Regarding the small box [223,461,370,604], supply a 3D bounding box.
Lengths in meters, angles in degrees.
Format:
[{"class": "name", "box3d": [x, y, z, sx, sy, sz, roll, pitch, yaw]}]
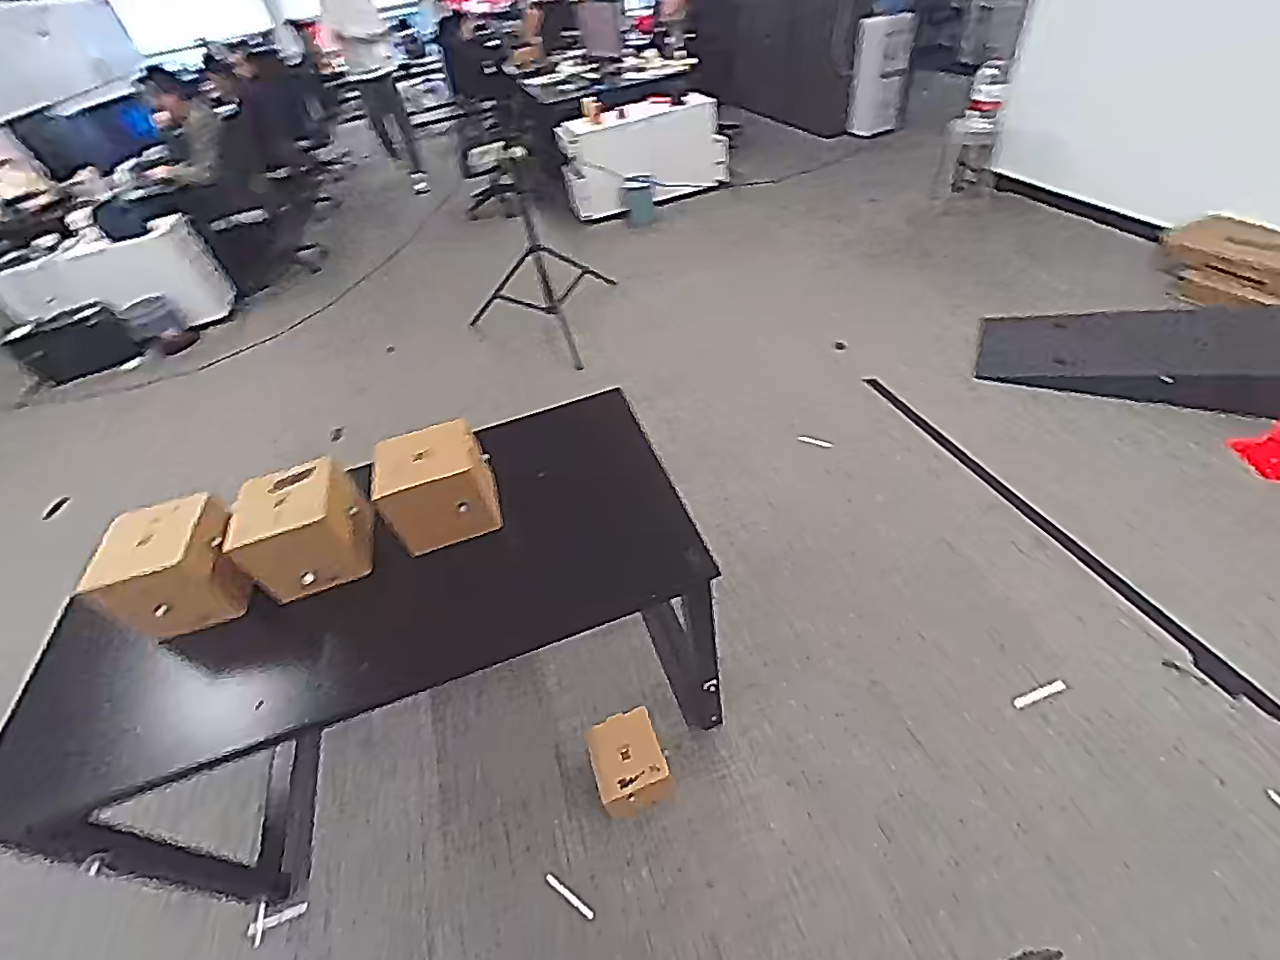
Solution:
[{"class": "small box", "box3d": [-0.628, 0.100, 1.014, 0.168, 0.176, 0.179, -19, 47, -9]}]

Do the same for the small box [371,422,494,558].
[{"class": "small box", "box3d": [-0.395, 0.021, 1.052, 0.179, 0.176, 0.168, -20, 44, -7]}]

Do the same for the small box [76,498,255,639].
[{"class": "small box", "box3d": [-0.840, 0.168, 0.987, 0.168, 0.176, 0.179, -16, 45, -6]}]

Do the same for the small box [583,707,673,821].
[{"class": "small box", "box3d": [-0.028, 0.703, 1.336, 0.168, 0.176, 0.179, -20, 45, -8]}]
